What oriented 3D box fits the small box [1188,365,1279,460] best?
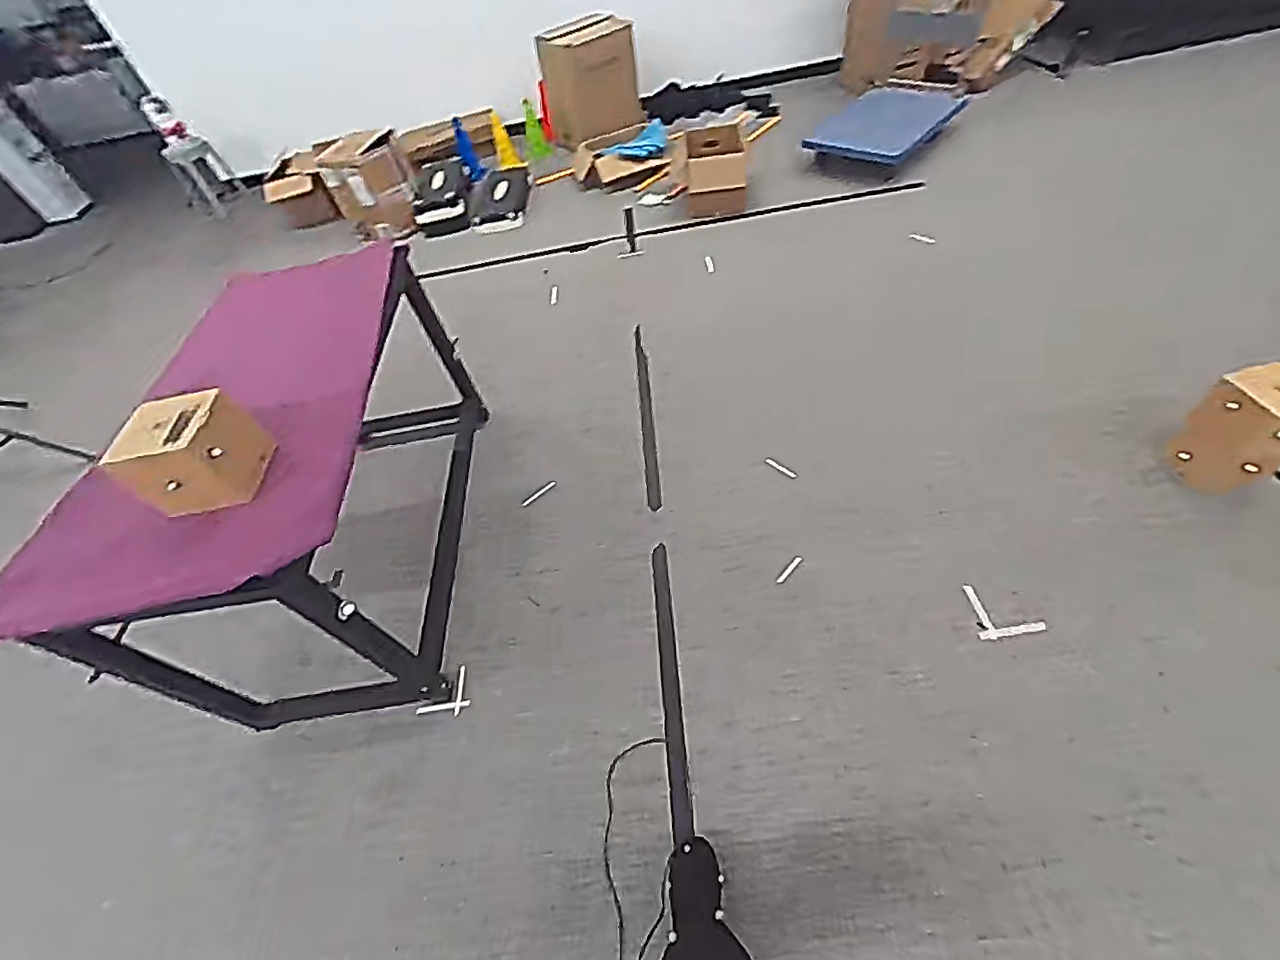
[{"bbox_3d":[1.652,-0.172,1.440,0.168,0.176,0.179,-13,49,1],"label":"small box"}]

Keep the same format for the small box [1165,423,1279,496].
[{"bbox_3d":[1.686,-0.068,1.561,0.179,0.176,0.168,-6,51,6],"label":"small box"}]
